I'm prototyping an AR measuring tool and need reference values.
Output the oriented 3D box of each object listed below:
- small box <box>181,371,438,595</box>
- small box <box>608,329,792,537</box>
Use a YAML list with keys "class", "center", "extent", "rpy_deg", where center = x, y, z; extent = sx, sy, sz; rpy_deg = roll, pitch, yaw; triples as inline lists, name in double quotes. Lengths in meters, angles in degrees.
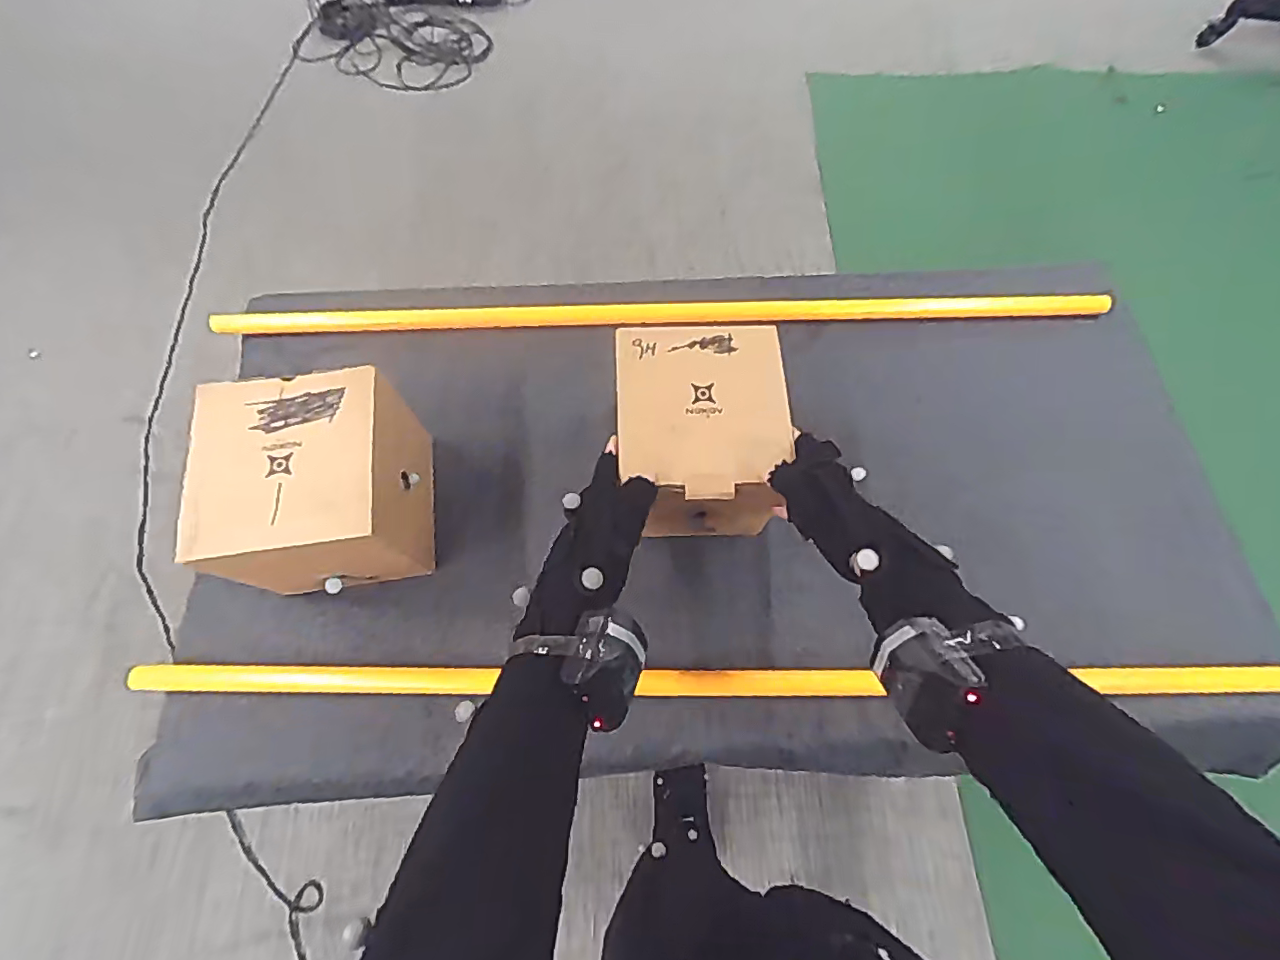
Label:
- class: "small box"
  center: [-0.322, 0.011, 0.567]
  extent: [0.168, 0.176, 0.179]
  rpy_deg: [-8, 69, -4]
- class: "small box"
  center: [0.056, -0.040, 0.597]
  extent: [0.168, 0.176, 0.179]
  rpy_deg: [-4, 68, -1]
